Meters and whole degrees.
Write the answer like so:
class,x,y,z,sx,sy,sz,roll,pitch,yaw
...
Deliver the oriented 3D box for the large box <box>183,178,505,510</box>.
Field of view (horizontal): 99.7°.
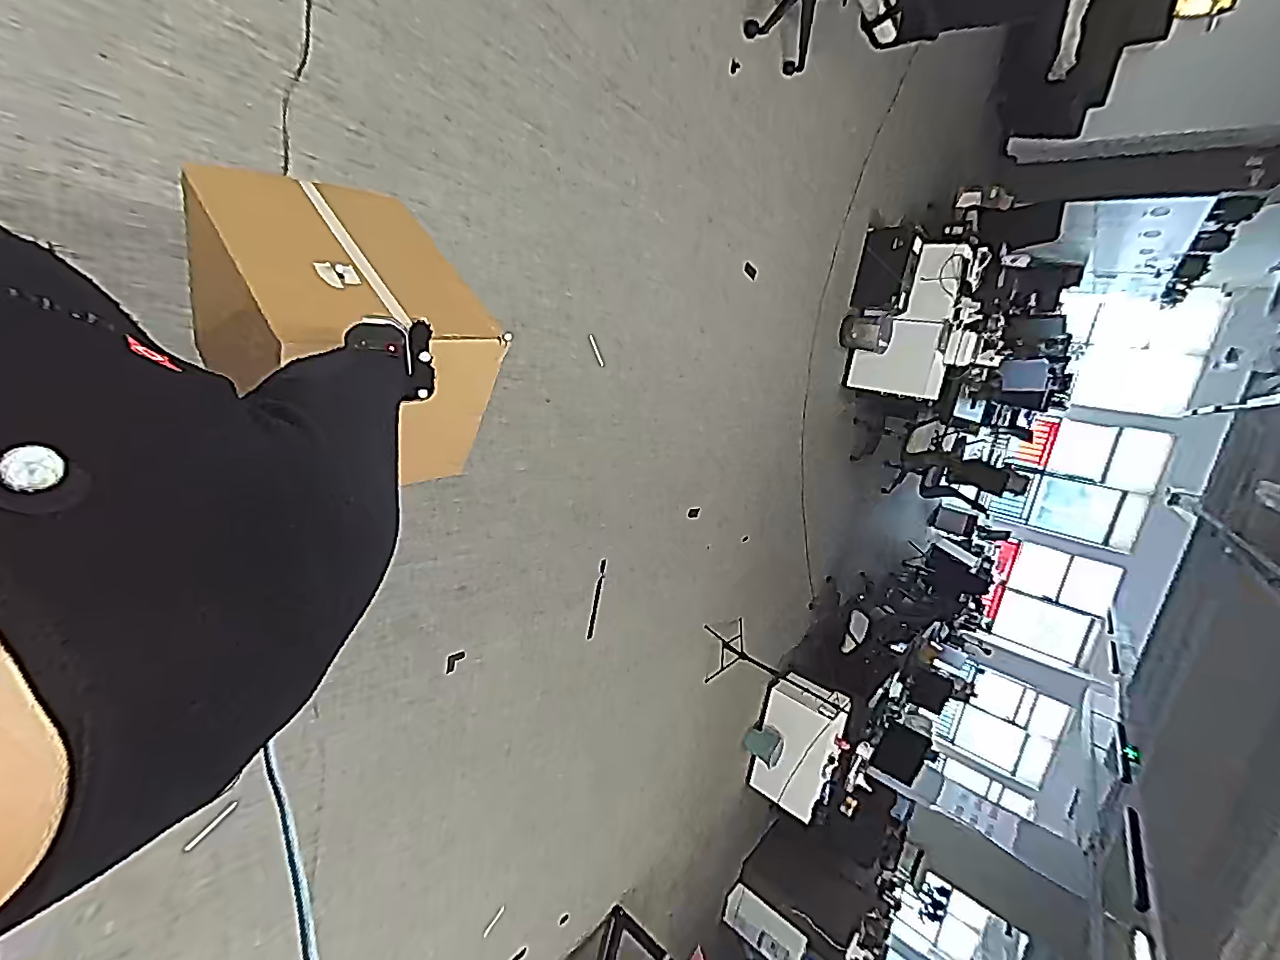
class,x,y,z,sx,sy,sz,roll,pitch,yaw
large box,-0.500,-0.222,0.903,0.320,0.408,0.320,-18,152,-45
